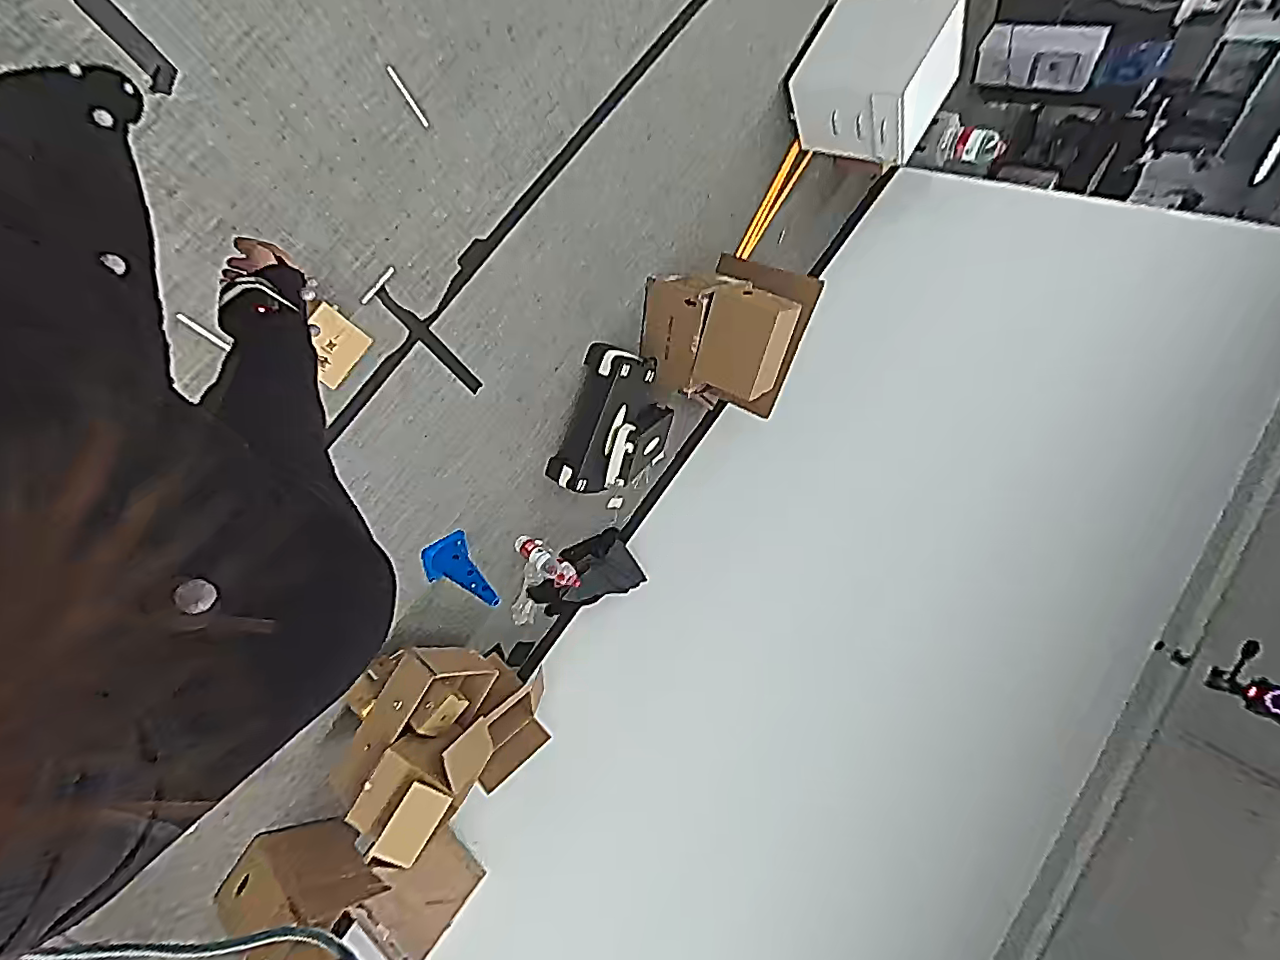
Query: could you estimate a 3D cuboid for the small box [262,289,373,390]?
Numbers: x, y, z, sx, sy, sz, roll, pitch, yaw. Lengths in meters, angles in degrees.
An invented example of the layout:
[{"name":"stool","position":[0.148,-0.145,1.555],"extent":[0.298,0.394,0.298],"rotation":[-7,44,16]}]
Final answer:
[{"name":"small box","position":[-0.869,-0.377,1.448],"extent":[0.179,0.176,0.168],"rotation":[-55,150,-8]}]
